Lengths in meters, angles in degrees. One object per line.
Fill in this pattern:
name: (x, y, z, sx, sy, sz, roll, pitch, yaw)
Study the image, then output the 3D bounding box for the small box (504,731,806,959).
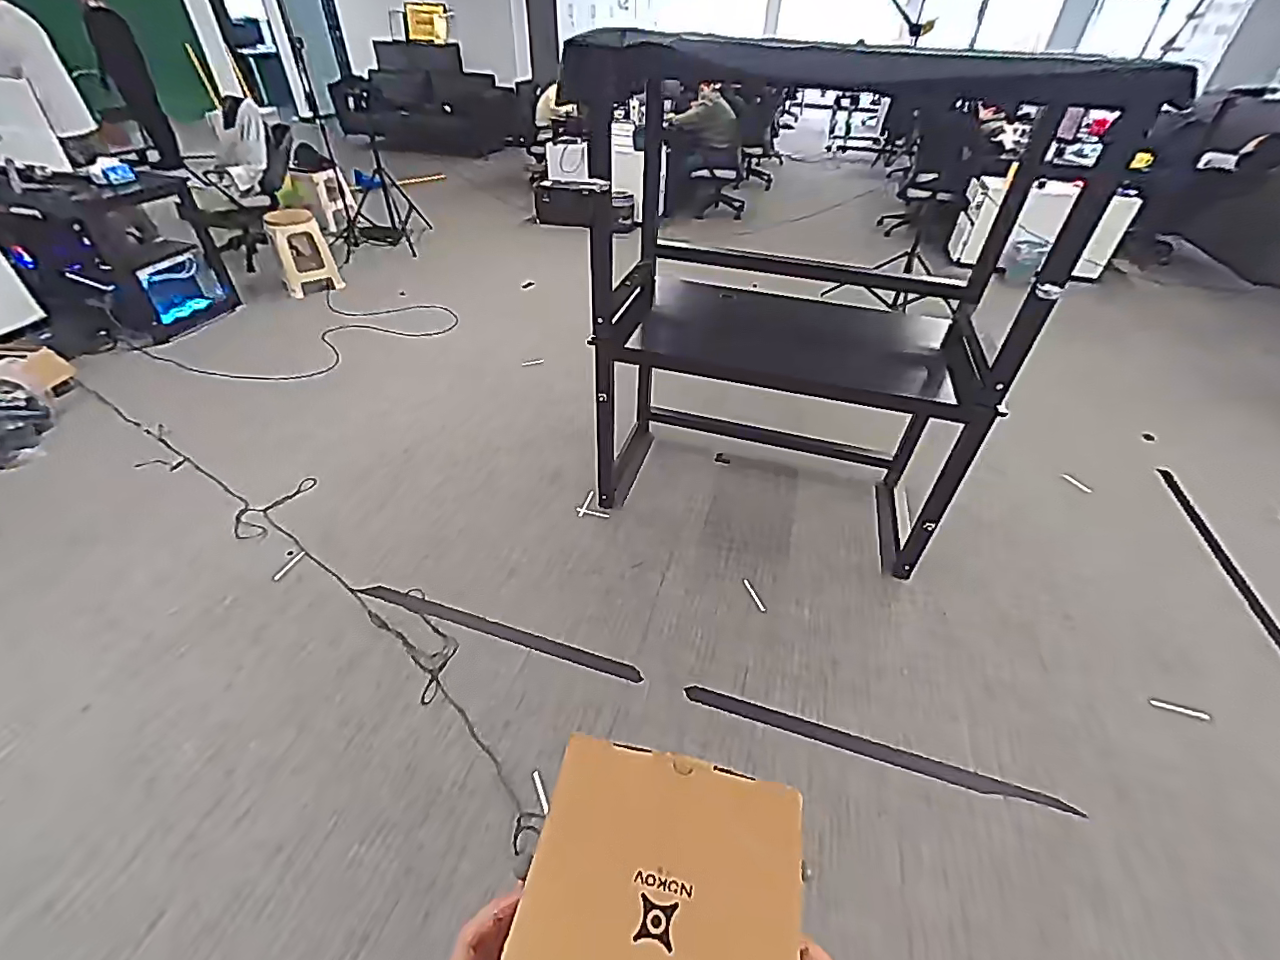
small box: (0.013, 0.310, 0.372, 0.168, 0.176, 0.179, 9, 43, 9)
